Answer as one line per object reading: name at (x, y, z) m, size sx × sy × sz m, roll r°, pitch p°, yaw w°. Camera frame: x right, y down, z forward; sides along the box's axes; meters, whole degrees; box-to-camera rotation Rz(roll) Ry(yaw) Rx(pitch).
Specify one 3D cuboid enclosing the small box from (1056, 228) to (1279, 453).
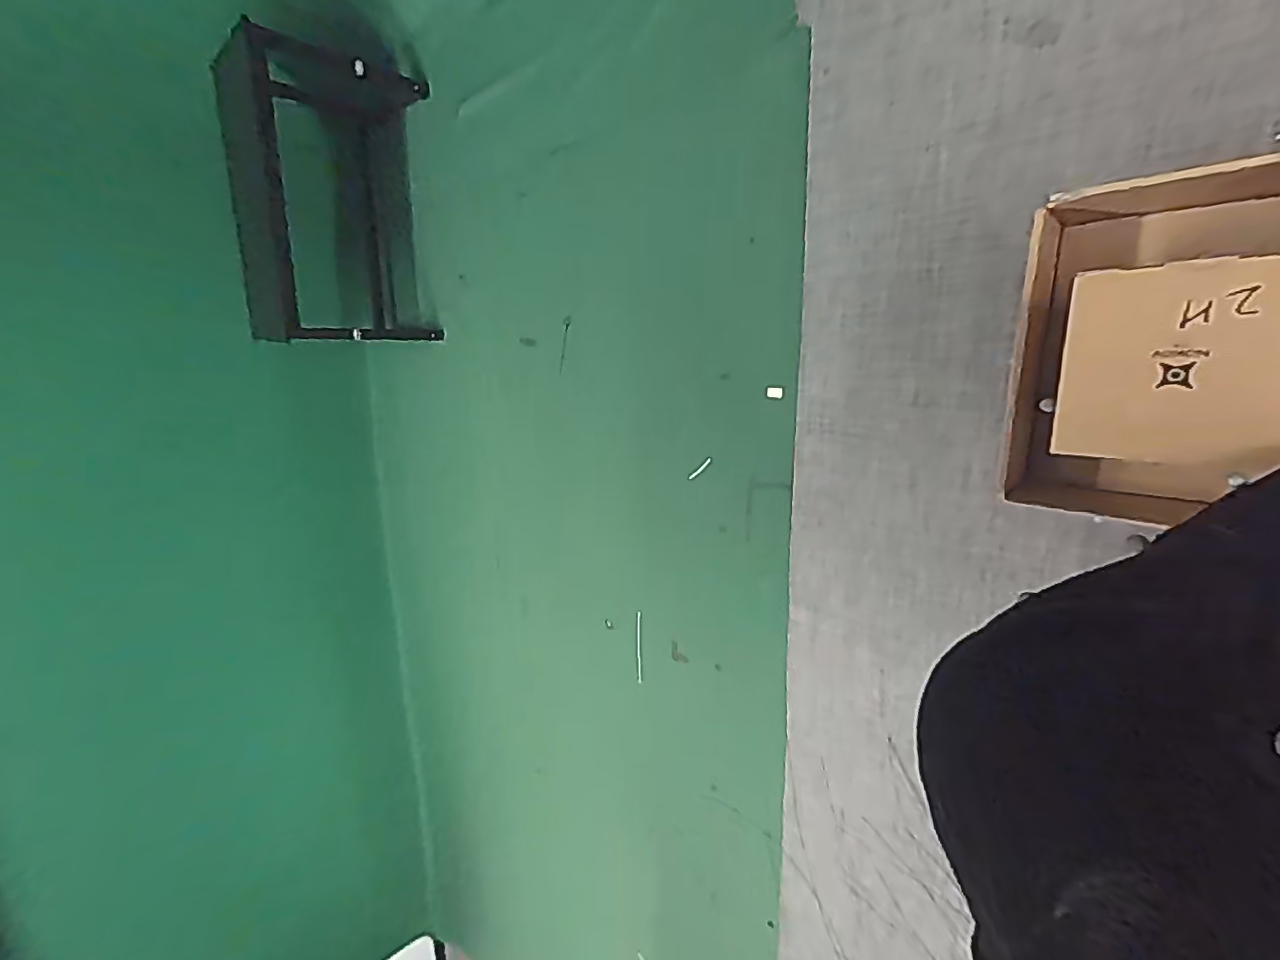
small box at (0.527, -0.131, 0.515) m, size 0.168 × 0.176 × 0.179 m, roll 12°, pitch 109°, yaw 44°
